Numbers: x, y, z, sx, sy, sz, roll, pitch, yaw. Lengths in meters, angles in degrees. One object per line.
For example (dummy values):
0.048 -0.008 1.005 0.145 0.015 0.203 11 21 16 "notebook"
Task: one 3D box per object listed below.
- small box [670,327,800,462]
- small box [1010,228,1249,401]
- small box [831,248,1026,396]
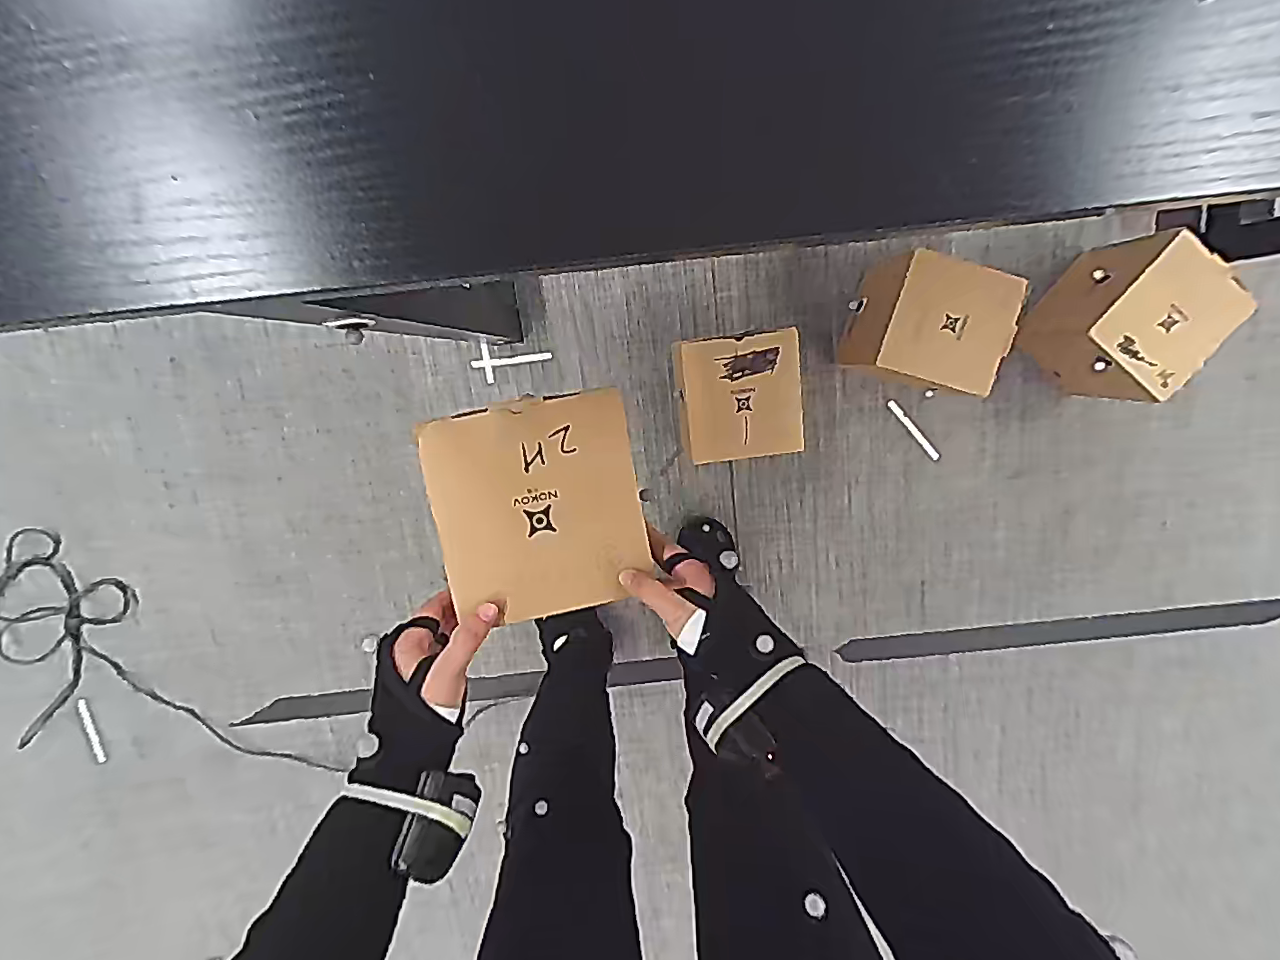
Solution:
0.140 -0.136 0.842 0.168 0.176 0.179 -7 104 1 "small box"
0.728 -0.245 0.828 0.168 0.176 0.179 36 100 -9 "small box"
0.425 -0.234 0.828 0.179 0.176 0.168 14 101 -3 "small box"
